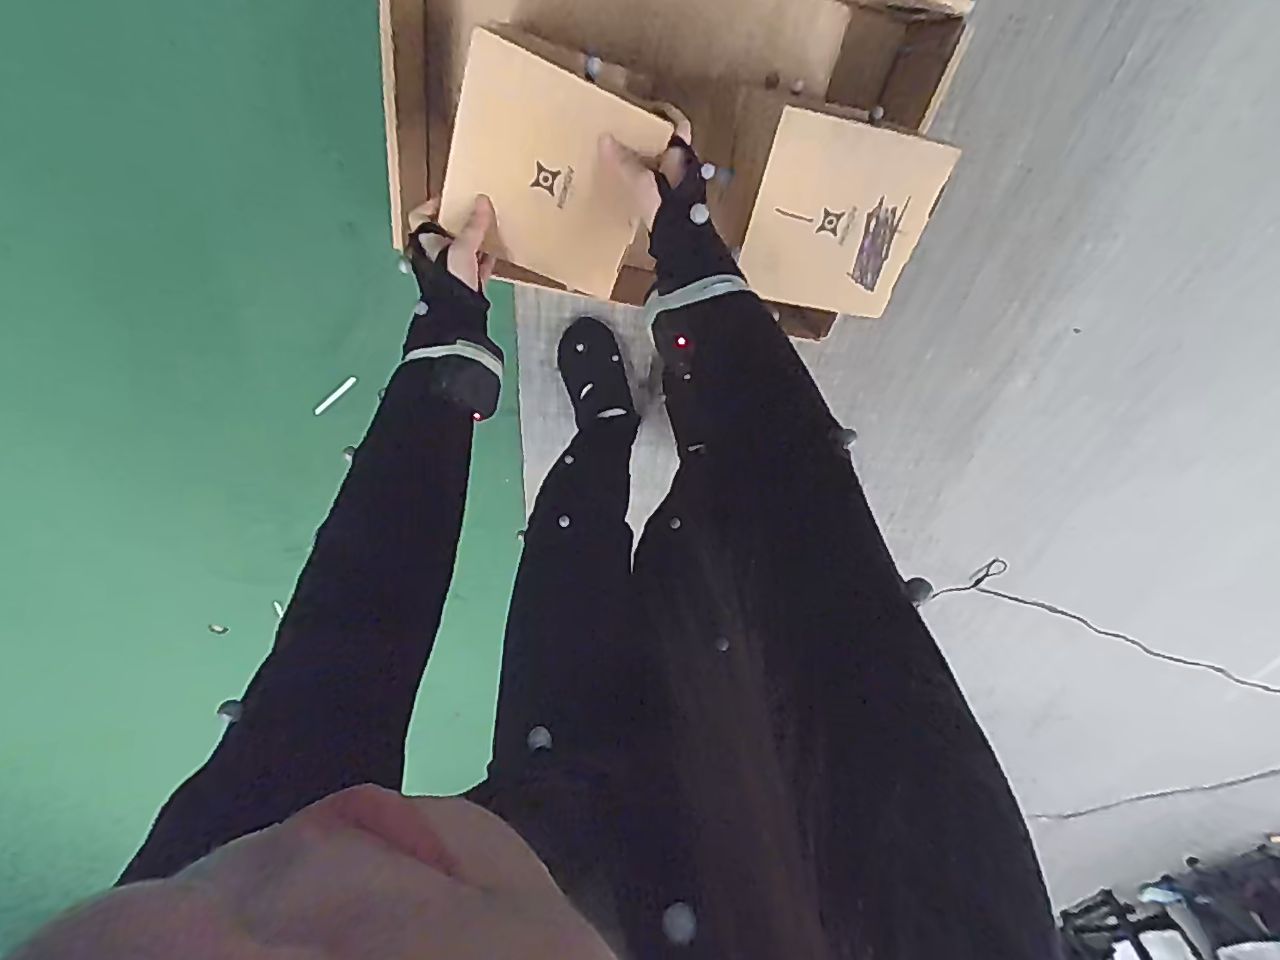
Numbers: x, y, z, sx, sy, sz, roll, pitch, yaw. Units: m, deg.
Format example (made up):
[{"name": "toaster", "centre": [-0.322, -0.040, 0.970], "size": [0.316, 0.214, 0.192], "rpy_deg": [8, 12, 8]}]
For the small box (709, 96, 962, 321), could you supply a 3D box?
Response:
[{"name": "small box", "centre": [0.188, -0.294, 0.583], "size": [0.179, 0.176, 0.168], "rpy_deg": [7, 129, -9]}]

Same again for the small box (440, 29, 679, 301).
[{"name": "small box", "centre": [-0.083, -0.314, 0.547], "size": [0.179, 0.176, 0.168], "rpy_deg": [15, 126, -18]}]
